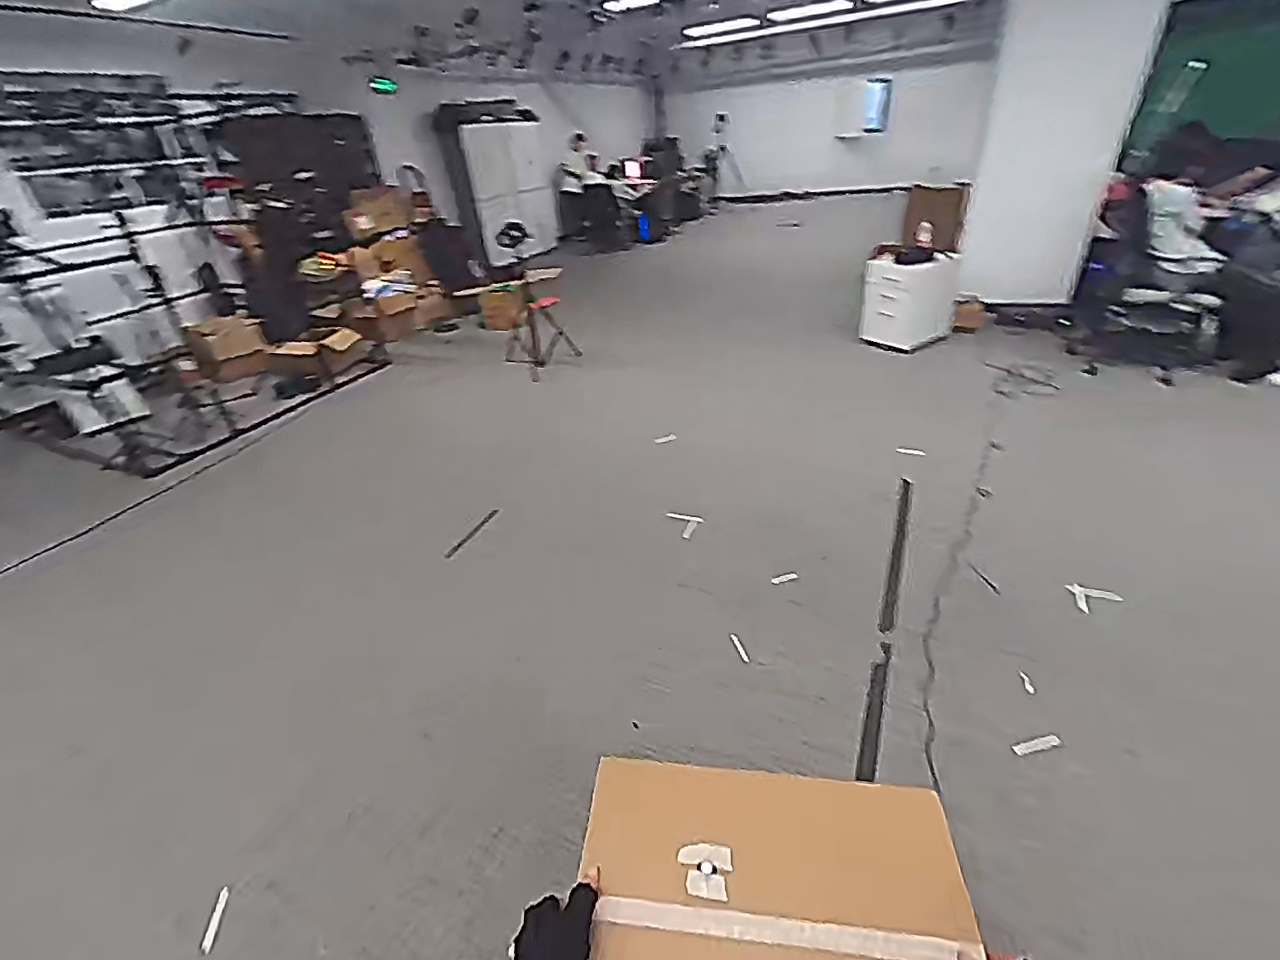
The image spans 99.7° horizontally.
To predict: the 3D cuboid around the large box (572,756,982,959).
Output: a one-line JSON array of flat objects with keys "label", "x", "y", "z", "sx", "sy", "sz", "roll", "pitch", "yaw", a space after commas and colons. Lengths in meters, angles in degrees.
[{"label": "large box", "x": 0.147, "y": 0.569, "z": 0.643, "sx": 0.408, "sy": 0.320, "sz": 0.320, "roll": 2, "pitch": 37, "yaw": 9}]
